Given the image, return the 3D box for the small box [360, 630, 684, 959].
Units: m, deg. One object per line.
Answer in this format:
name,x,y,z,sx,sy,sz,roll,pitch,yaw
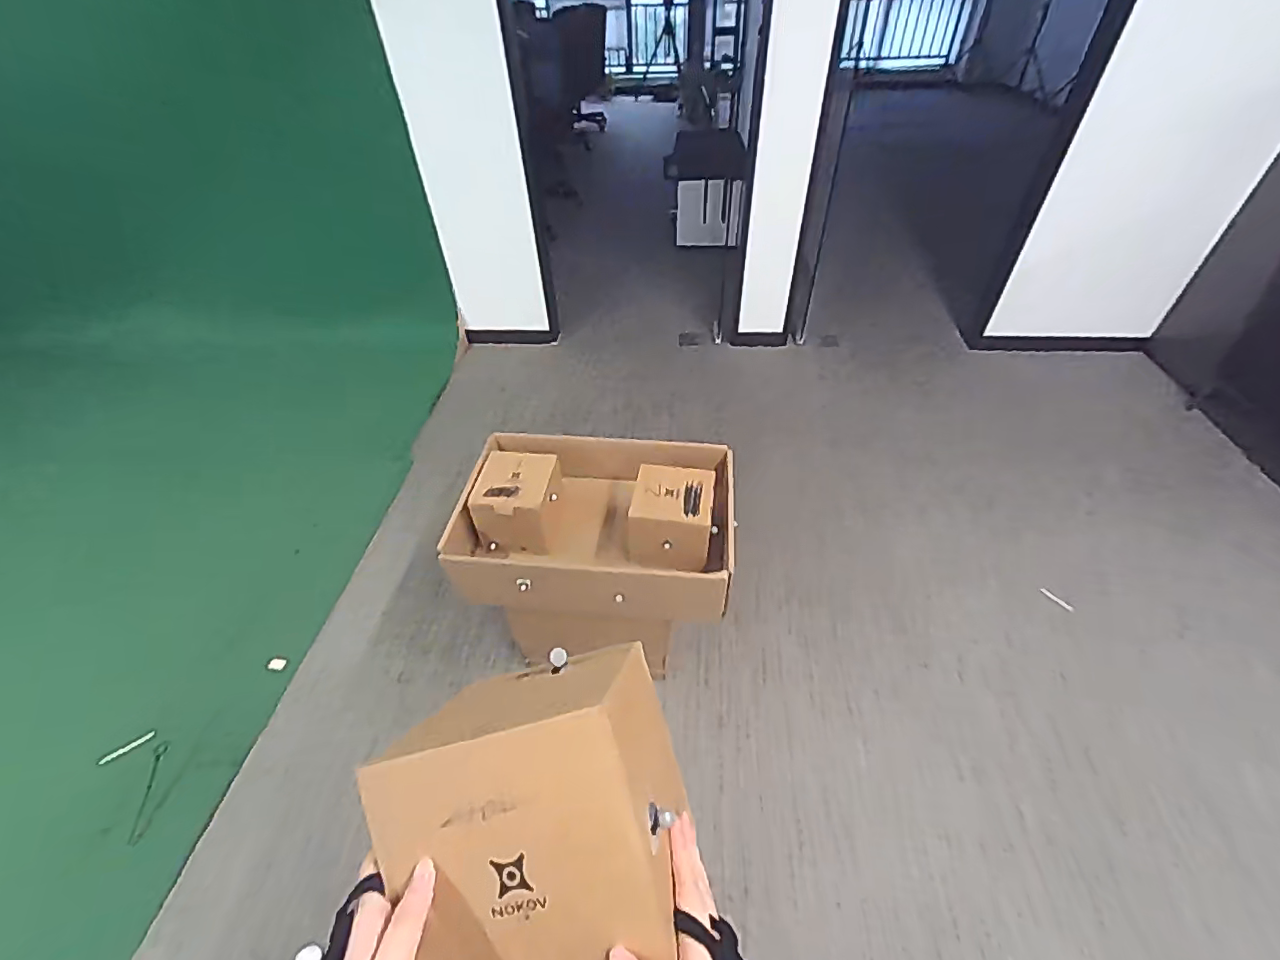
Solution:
small box,-0.069,0.234,0.411,0.168,0.176,0.179,-17,85,7
